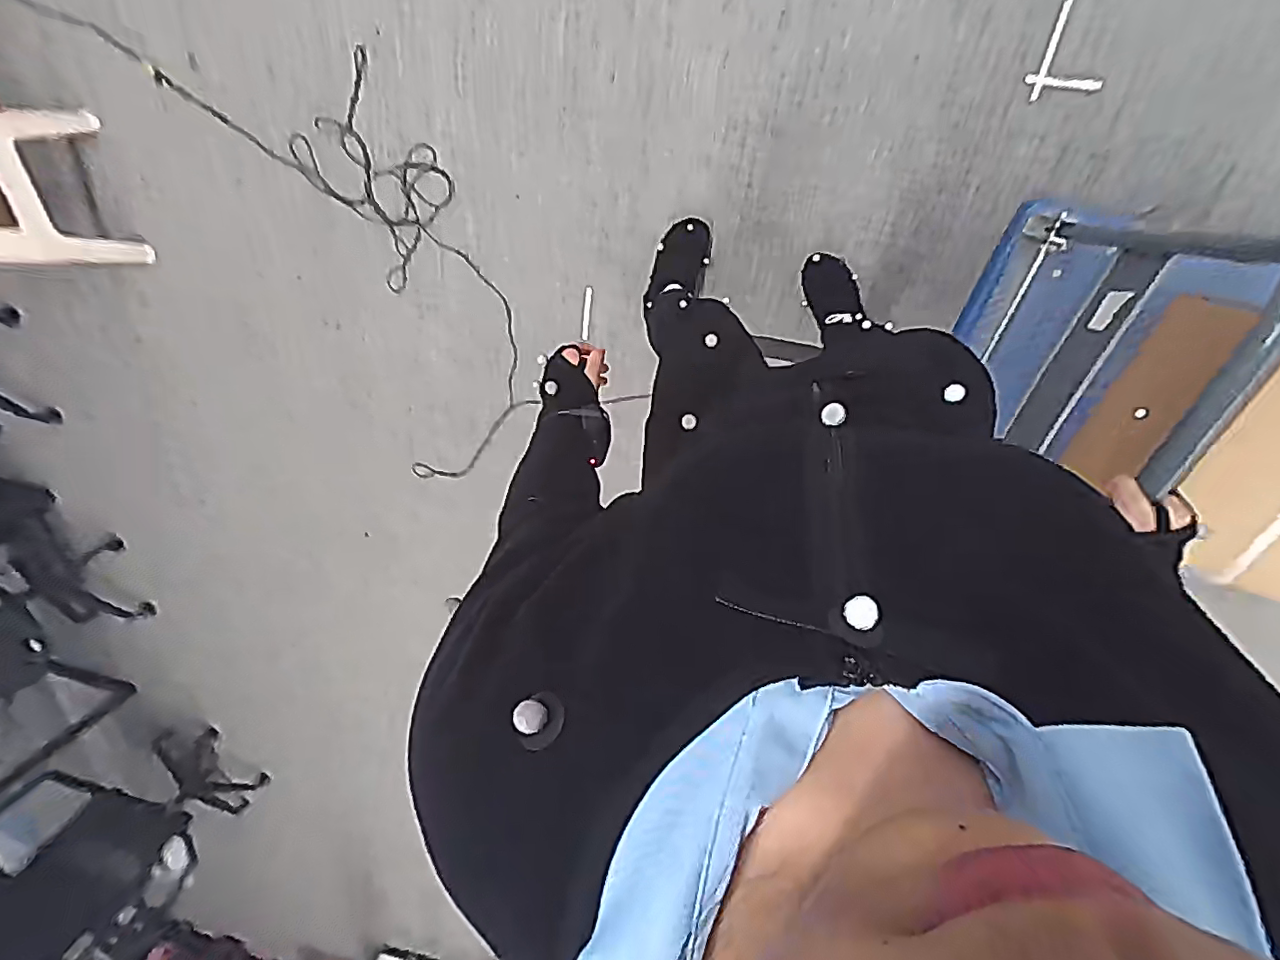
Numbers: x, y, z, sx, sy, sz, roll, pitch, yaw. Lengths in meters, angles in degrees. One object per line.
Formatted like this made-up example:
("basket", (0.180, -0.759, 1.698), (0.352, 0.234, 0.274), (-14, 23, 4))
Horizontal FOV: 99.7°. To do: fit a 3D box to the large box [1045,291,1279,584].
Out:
("large box", (1.054, -0.088, 0.979), (0.320, 0.320, 0.408), (18, 118, 5))
